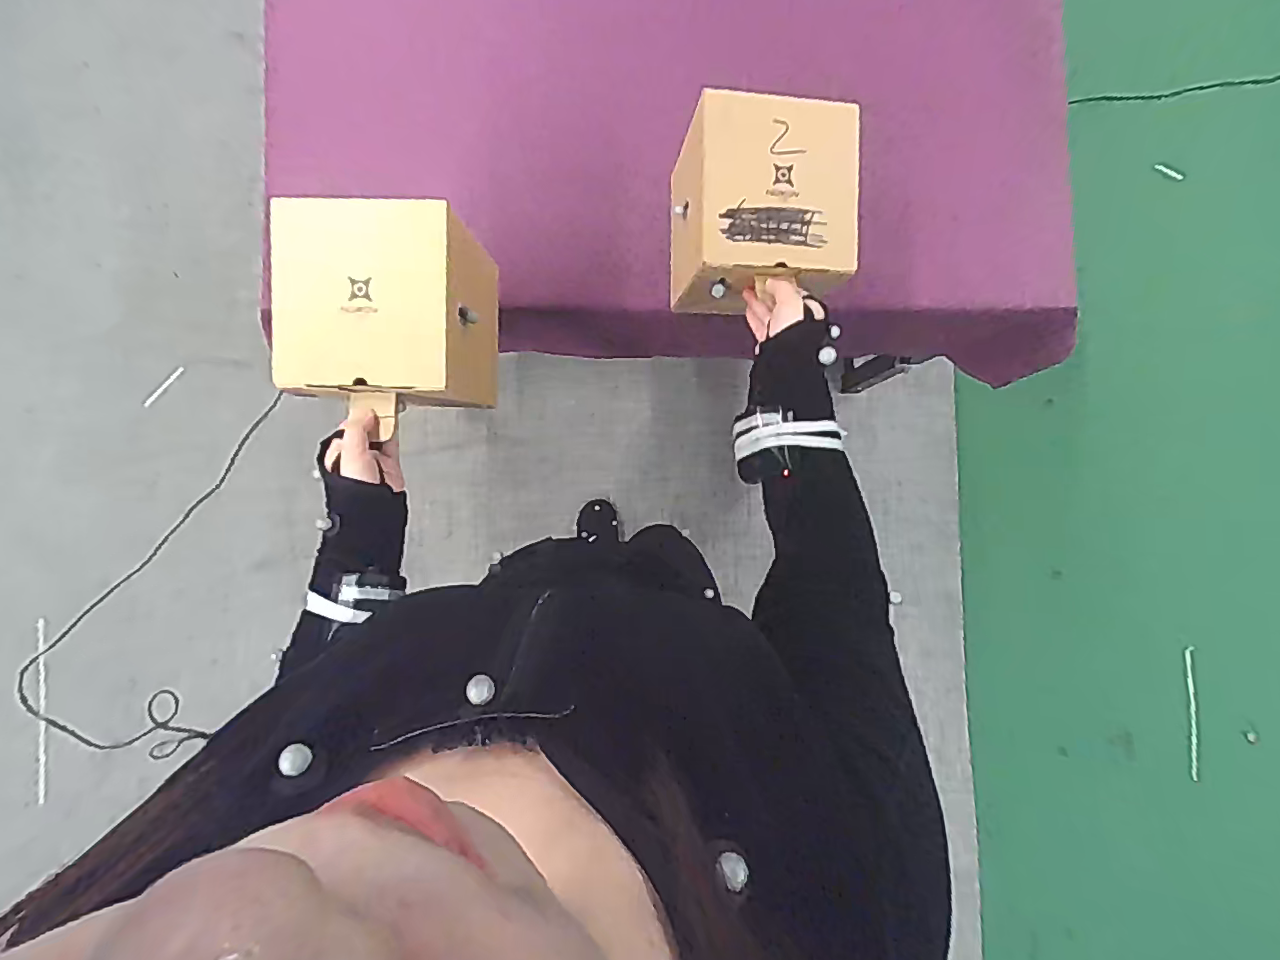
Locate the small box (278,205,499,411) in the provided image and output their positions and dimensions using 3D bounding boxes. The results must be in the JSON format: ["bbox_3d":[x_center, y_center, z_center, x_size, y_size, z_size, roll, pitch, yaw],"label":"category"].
[{"bbox_3d":[-0.258,-0.172,0.590,0.168,0.176,0.179,2,93,0],"label":"small box"}]
